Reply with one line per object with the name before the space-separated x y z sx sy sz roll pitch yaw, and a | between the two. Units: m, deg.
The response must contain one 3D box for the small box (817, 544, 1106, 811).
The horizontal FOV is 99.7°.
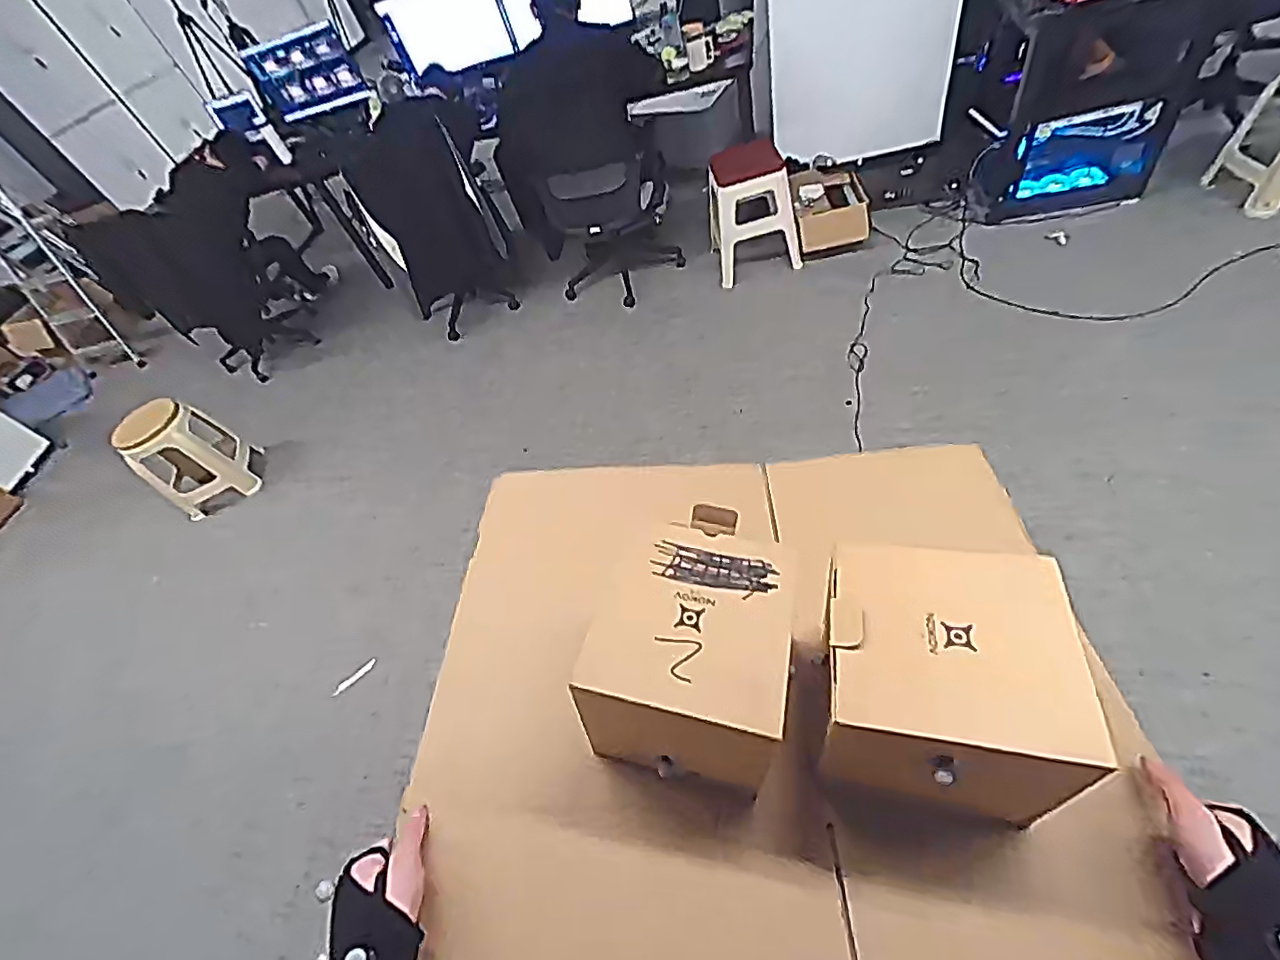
small box | 0.258 0.178 0.486 0.179 0.176 0.168 3 50 17
